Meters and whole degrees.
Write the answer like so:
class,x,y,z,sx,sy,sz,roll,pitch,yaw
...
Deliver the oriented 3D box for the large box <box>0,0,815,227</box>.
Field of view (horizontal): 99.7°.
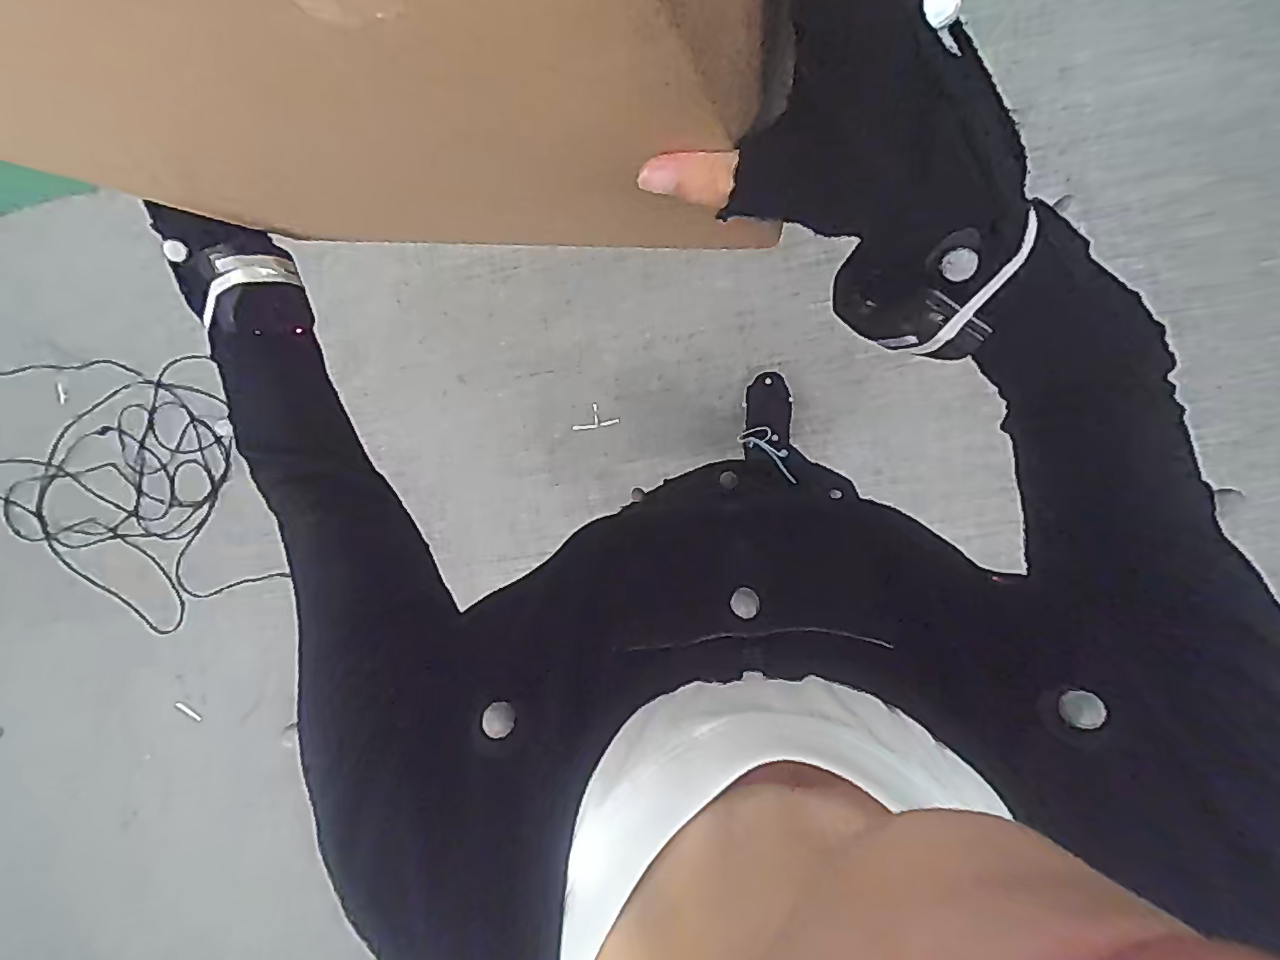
class,x,y,z,sx,sy,sz,roll,pitch,yaw
large box,-0.134,-0.313,0.223,0.408,0.320,0.320,10,102,19
